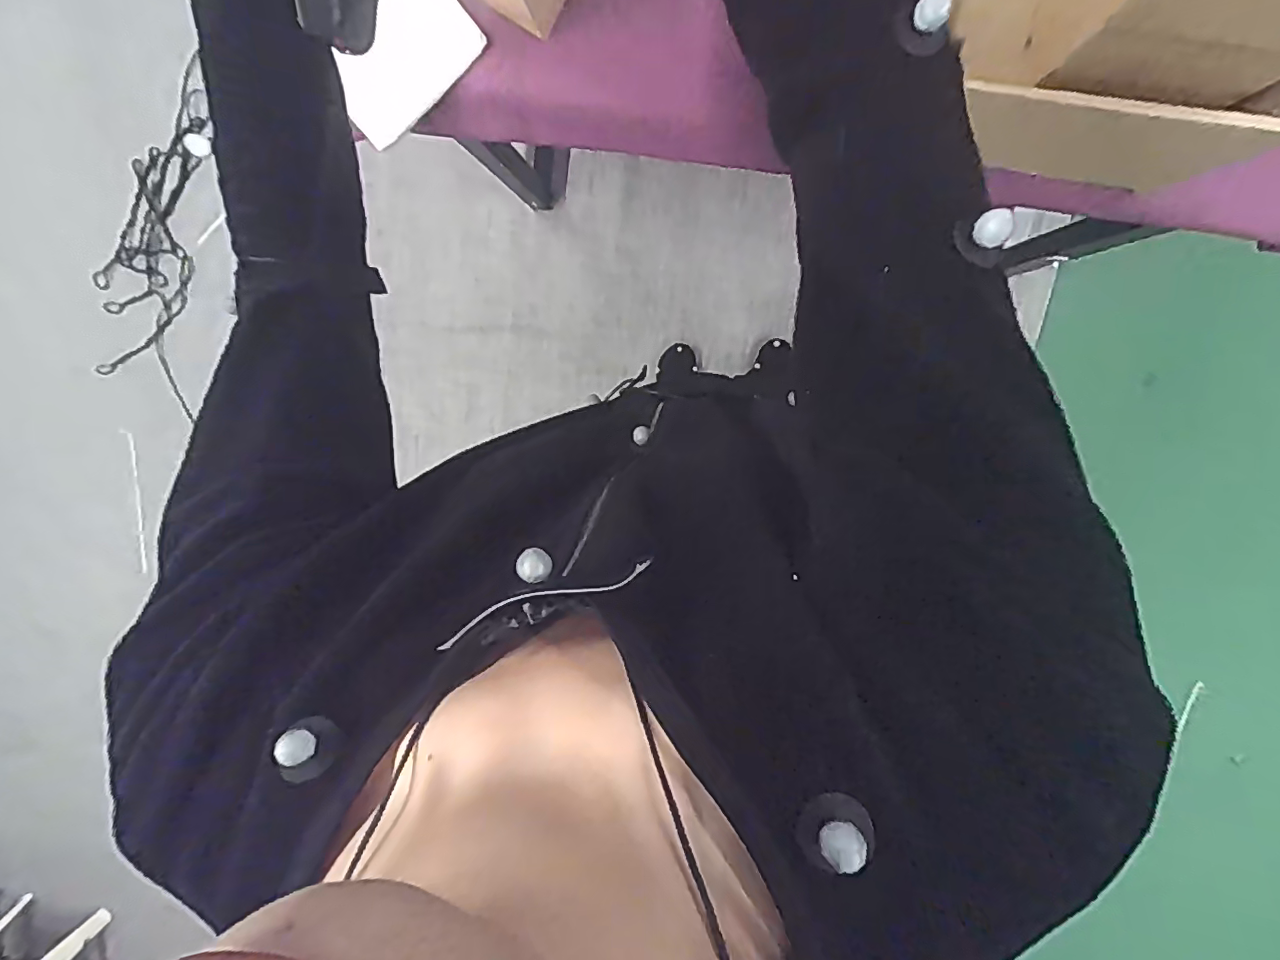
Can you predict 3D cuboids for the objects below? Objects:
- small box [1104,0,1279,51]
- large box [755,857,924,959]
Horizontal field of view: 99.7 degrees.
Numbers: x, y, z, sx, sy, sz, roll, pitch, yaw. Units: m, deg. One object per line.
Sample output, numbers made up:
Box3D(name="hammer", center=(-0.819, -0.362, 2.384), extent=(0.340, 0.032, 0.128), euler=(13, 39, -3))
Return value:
Box3D(name="small box", center=(0.456, -0.405, 0.332), extent=(0.179, 0.176, 0.168), euler=(13, 103, 6))
Box3D(name="large box", center=(0.566, 1.368, 1.589), extent=(0.408, 0.320, 0.320), euler=(-5, 102, 6))
